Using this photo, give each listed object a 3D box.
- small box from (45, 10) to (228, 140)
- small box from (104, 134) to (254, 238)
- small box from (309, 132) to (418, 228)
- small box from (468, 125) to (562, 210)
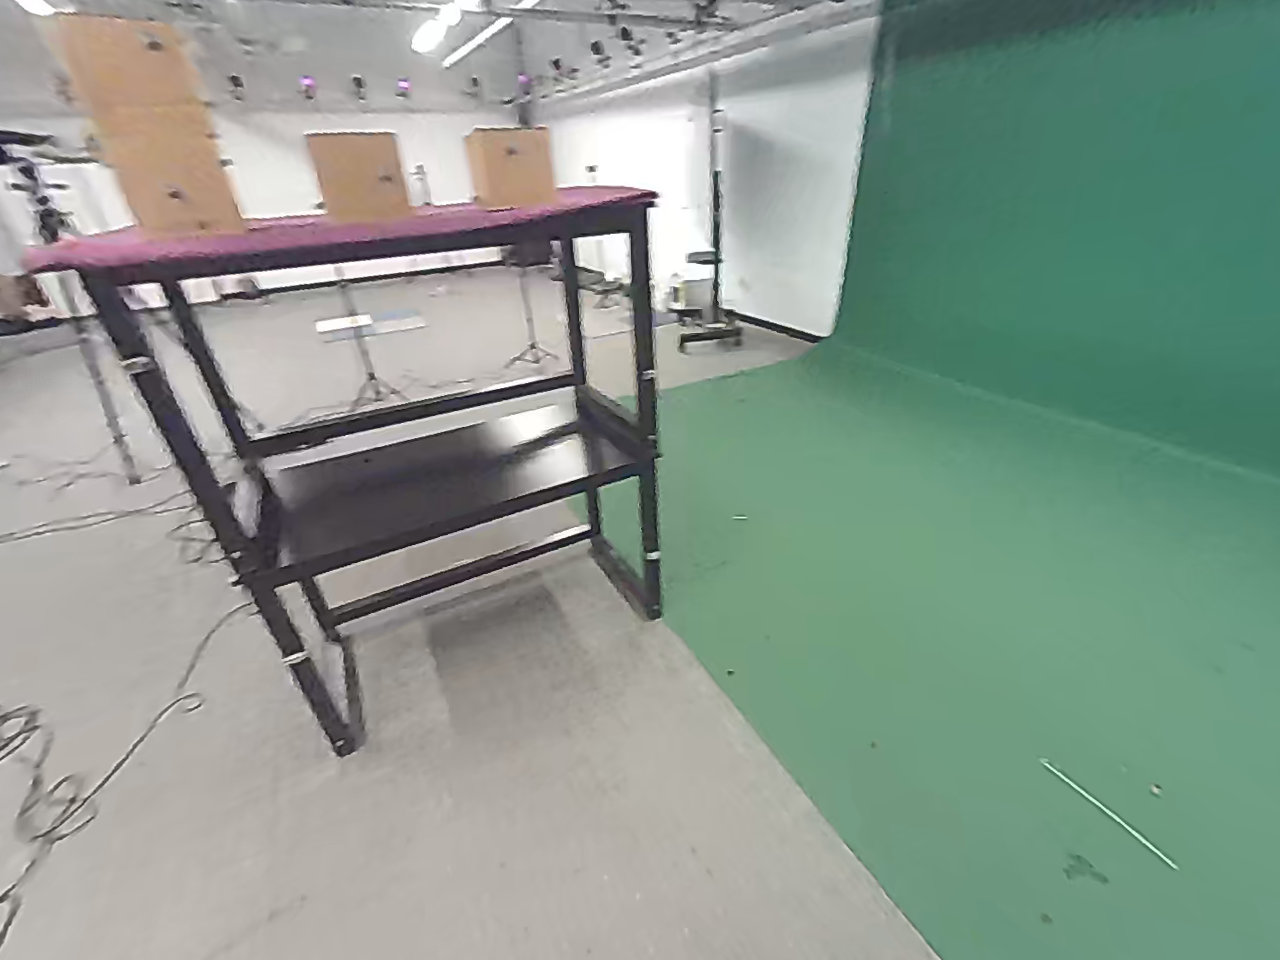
[{"bbox_3d":[-0.884,-0.711,0.972,0.179,0.176,0.168,-18,35,-25],"label":"small box"},{"bbox_3d":[-0.880,-0.571,1.054,0.168,0.176,0.179,-17,33,-25],"label":"small box"},{"bbox_3d":[-0.602,-0.660,1.189,0.179,0.176,0.168,-19,34,-24],"label":"small box"},{"bbox_3d":[-0.308,-0.770,1.342,0.179,0.176,0.168,-17,31,-22],"label":"small box"}]
